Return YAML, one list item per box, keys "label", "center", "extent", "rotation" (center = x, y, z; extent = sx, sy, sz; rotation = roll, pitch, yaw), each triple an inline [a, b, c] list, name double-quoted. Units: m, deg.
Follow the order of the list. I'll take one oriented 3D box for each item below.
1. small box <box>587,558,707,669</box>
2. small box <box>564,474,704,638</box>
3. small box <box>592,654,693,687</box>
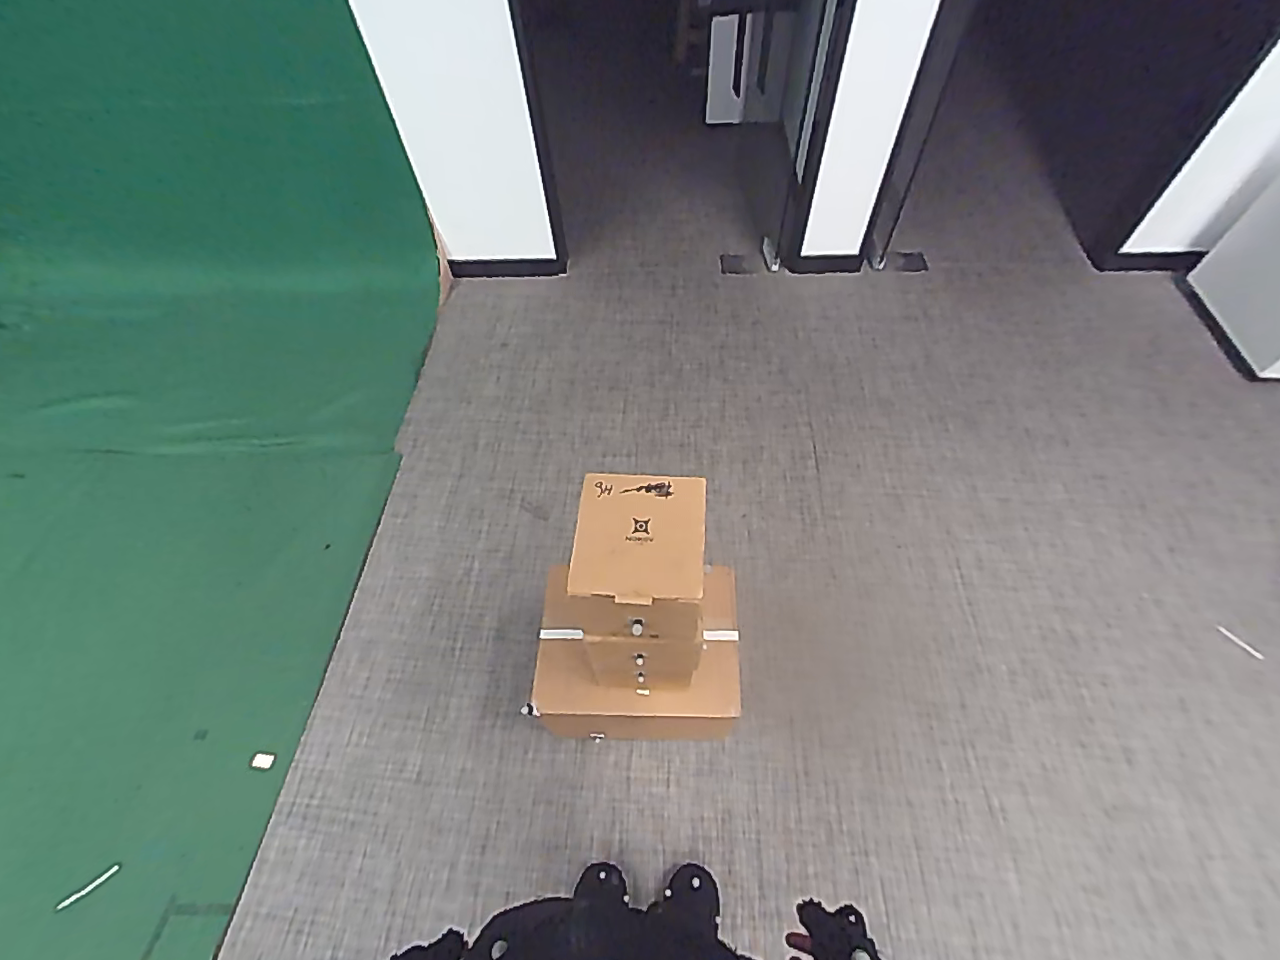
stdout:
- label: "small box"
  center: [0.011, 0.207, 0.885]
  extent: [0.179, 0.176, 0.168]
  rotation: [-2, 58, 1]
- label: "small box"
  center: [0.002, 0.110, 0.752]
  extent: [0.168, 0.176, 0.179]
  rotation: [3, 58, 6]
- label: "small box"
  center: [0.011, 0.290, 1.026]
  extent: [0.179, 0.176, 0.168]
  rotation: [2, 58, 3]
